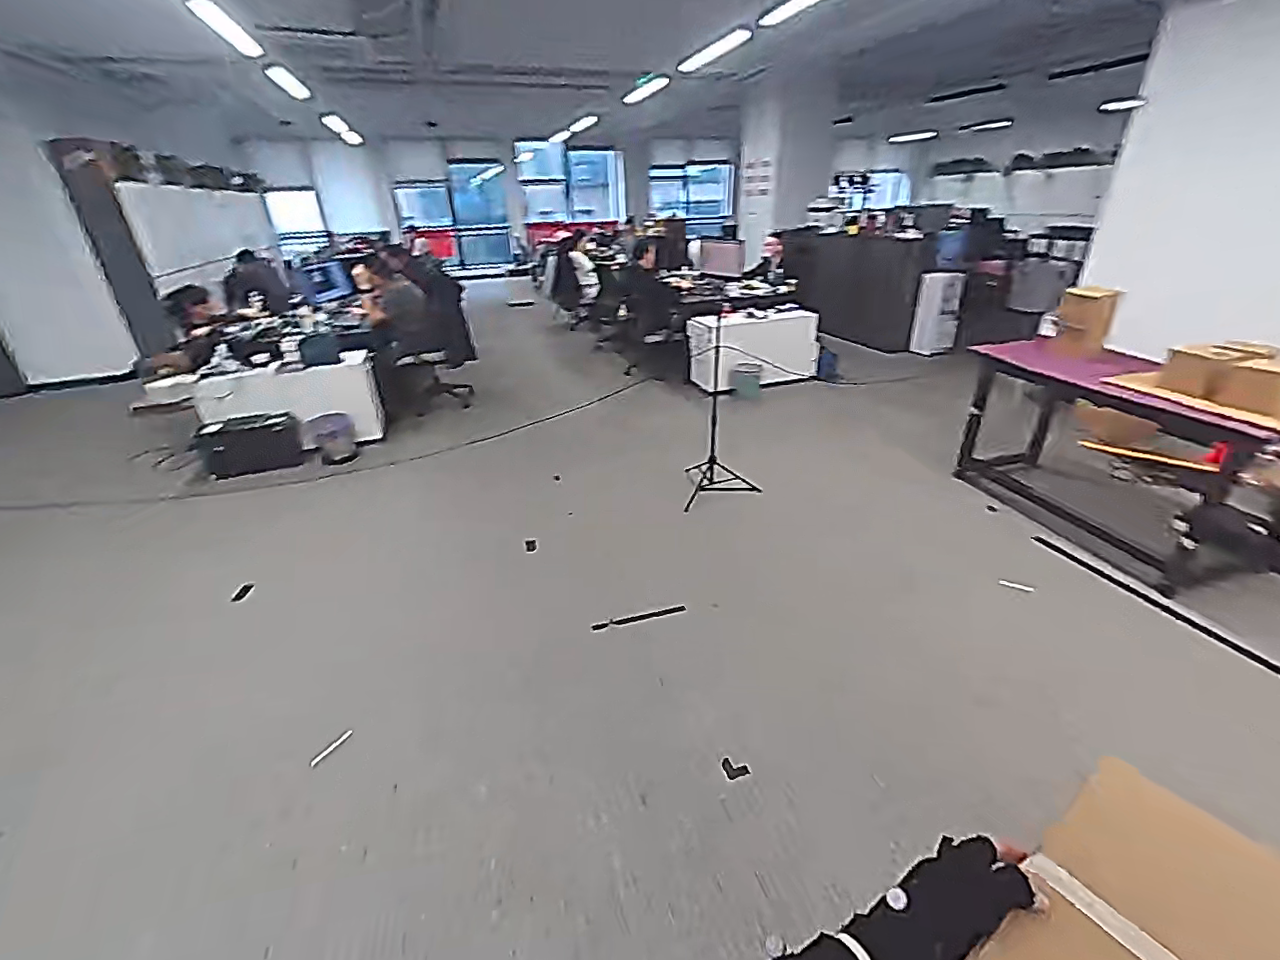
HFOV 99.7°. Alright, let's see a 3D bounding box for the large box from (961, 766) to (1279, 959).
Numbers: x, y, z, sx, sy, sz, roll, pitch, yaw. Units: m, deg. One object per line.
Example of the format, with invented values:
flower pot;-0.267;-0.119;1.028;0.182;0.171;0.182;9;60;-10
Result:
large box;0.471;0.540;0.413;0.320;0.320;0.408;-25;35;-27
